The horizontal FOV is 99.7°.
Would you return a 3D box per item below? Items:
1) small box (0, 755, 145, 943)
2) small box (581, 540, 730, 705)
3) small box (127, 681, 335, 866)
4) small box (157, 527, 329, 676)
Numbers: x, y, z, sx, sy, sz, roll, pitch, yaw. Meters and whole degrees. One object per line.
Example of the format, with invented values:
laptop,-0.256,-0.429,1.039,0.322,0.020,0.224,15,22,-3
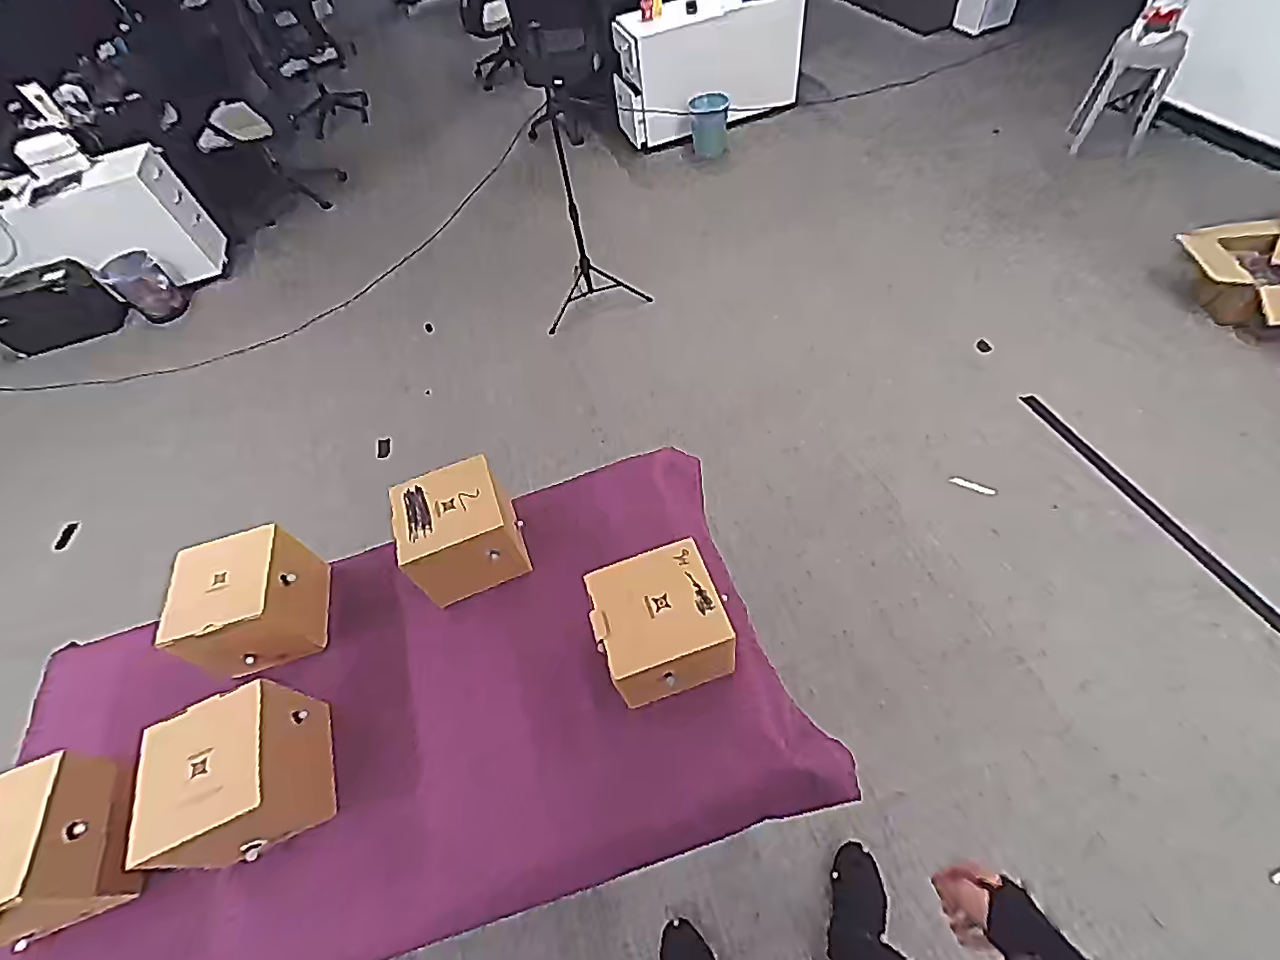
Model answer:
small box,-0.827,0.514,0.751,0.168,0.176,0.179,-21,53,-6
small box,0.029,0.223,0.825,0.179,0.176,0.168,-19,55,-3
small box,-0.569,0.425,0.778,0.168,0.176,0.179,-24,55,-7
small box,-0.668,0.213,0.937,0.168,0.176,0.179,-17,55,-4
